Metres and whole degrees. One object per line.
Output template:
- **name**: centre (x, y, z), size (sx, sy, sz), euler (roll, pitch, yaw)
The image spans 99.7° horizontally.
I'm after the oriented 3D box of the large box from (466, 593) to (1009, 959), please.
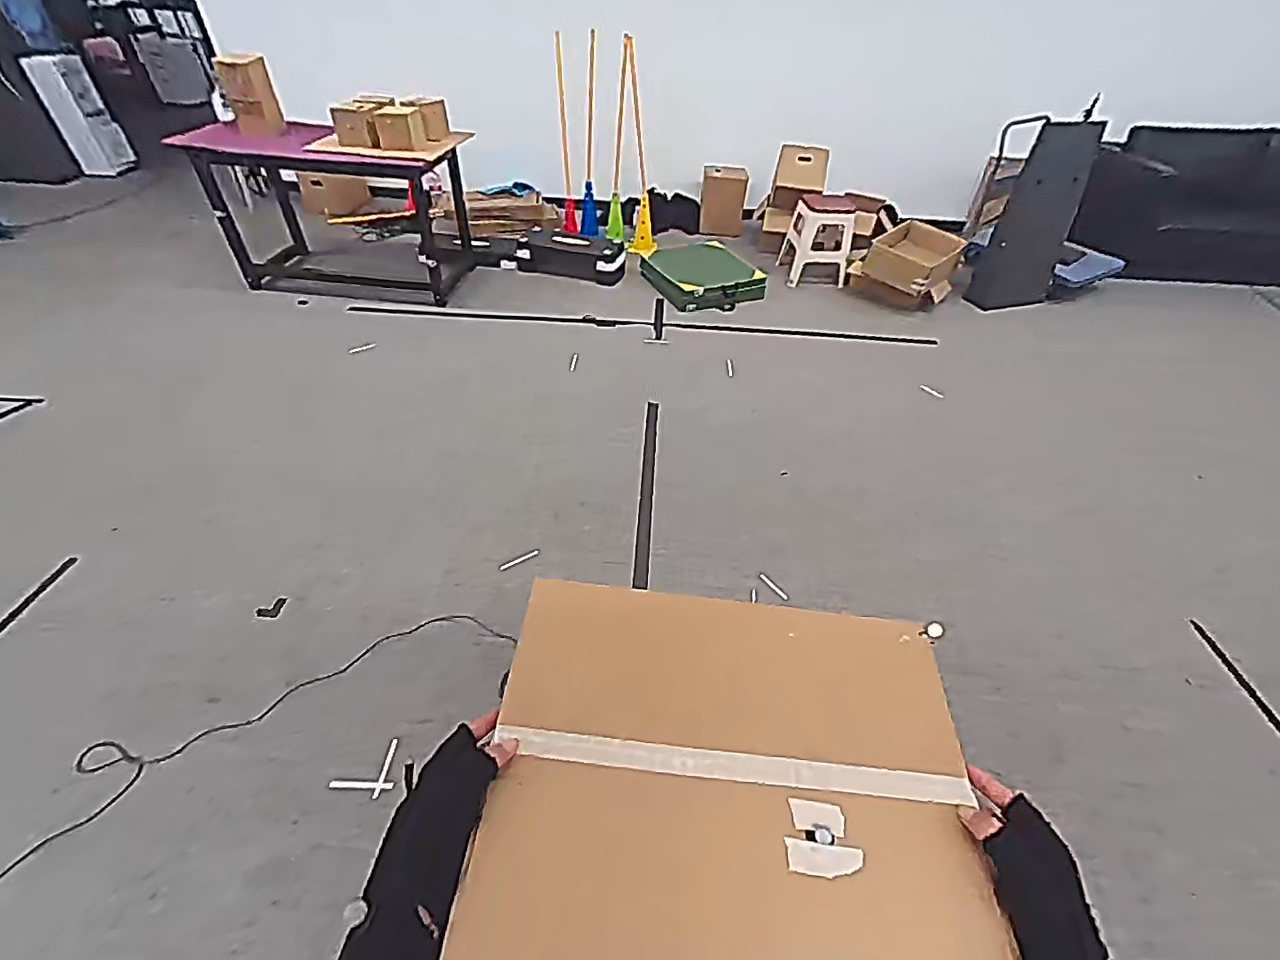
- **large box**: centre (0.070, 0.349, 0.578), size (0.408, 0.320, 0.320), euler (7, 50, 0)
